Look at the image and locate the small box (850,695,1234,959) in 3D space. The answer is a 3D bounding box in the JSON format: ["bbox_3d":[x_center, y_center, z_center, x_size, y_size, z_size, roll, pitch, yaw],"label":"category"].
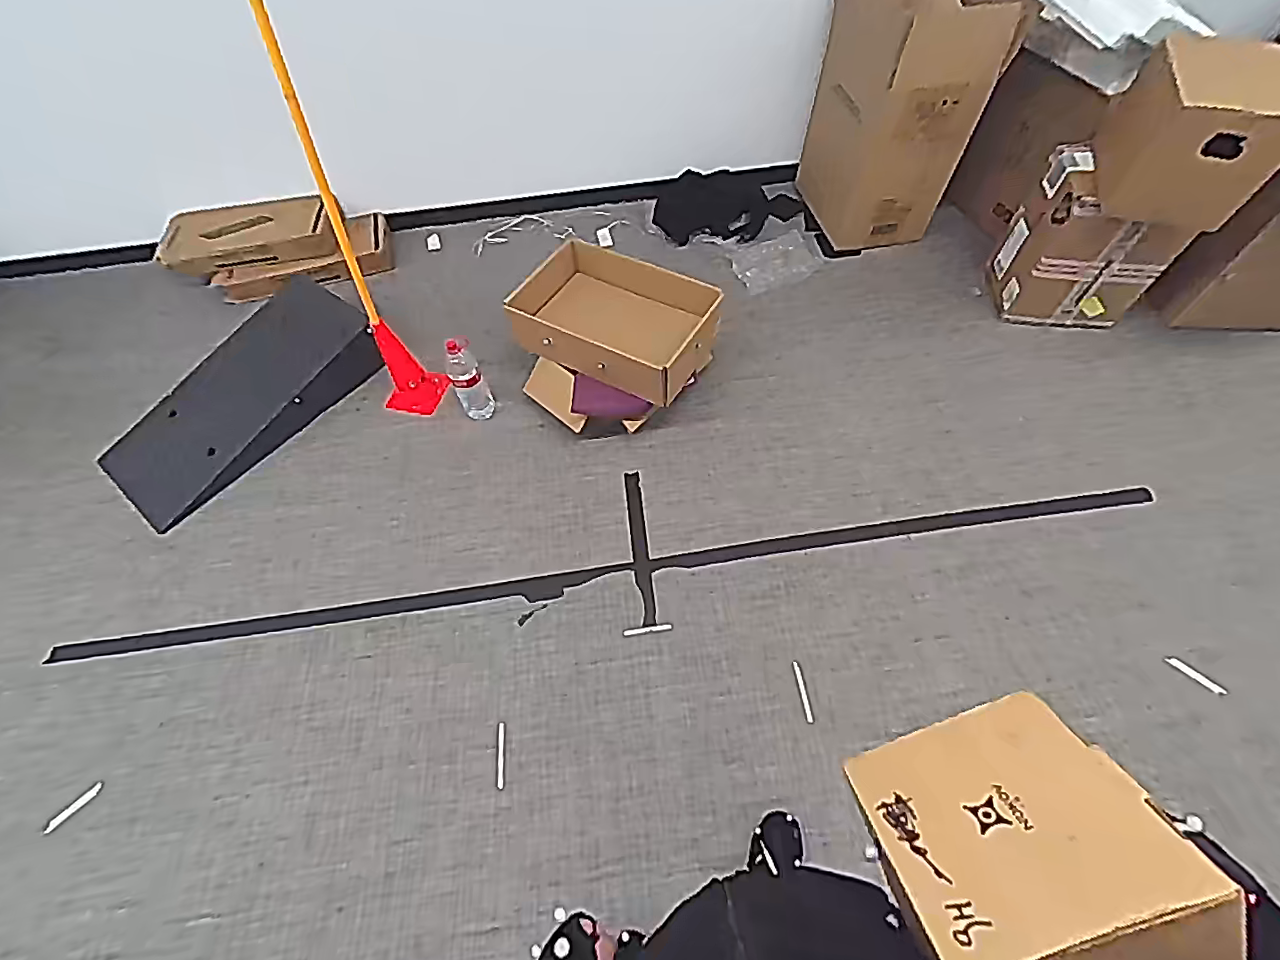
[{"bbox_3d":[0.301,0.316,0.432,0.179,0.176,0.168,-23,19,4],"label":"small box"}]
